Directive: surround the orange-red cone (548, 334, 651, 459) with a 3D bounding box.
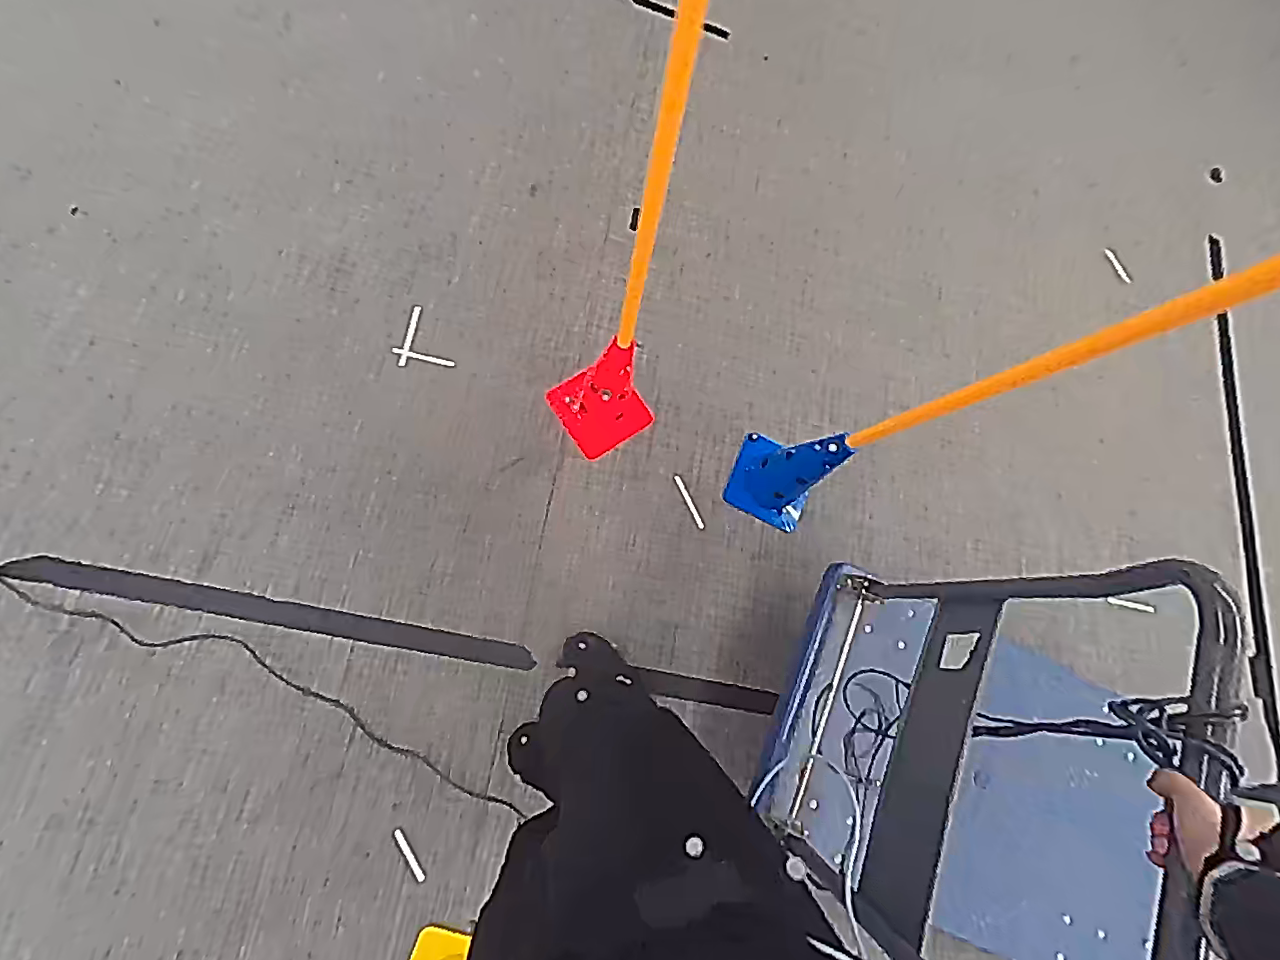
[{"bbox_3d":[-0.061,-0.204,1.115,0.198,0.360,0.199,-32,86,-16],"label":"orange-red cone"}]

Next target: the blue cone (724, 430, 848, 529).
[{"bbox_3d":[0.343,-0.029,1.171,0.192,0.380,0.193,27,74,-3],"label":"blue cone"}]
